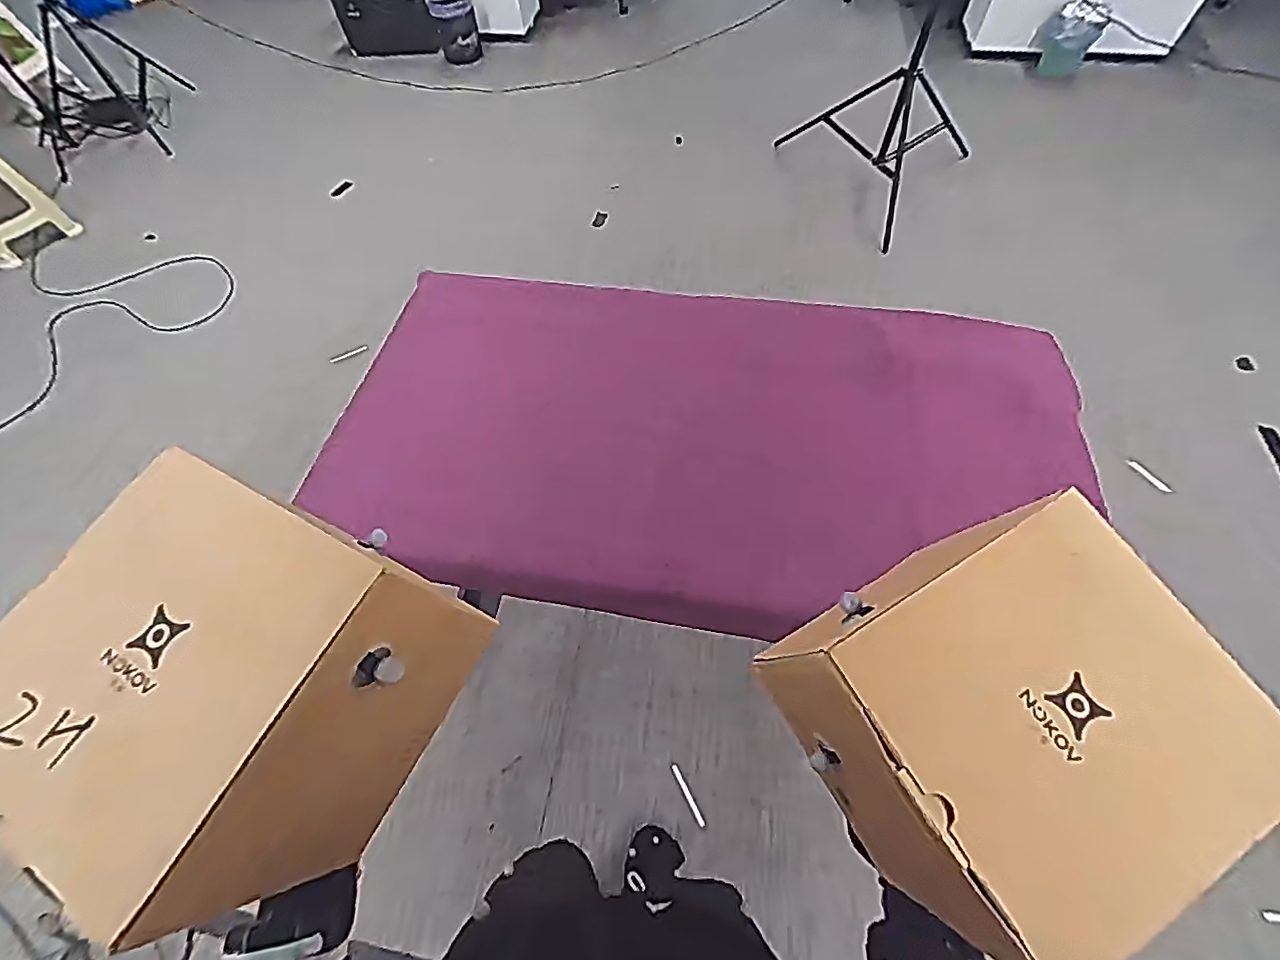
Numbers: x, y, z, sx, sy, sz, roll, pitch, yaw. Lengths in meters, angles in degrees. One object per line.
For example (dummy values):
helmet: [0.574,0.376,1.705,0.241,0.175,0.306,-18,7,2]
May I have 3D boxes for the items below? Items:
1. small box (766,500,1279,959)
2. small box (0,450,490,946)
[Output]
small box: [0.208,0.141,0.341,0.179,0.176,0.168,-29,73,-11]
small box: [-0.218,0.117,0.337,0.168,0.176,0.179,24,71,17]
